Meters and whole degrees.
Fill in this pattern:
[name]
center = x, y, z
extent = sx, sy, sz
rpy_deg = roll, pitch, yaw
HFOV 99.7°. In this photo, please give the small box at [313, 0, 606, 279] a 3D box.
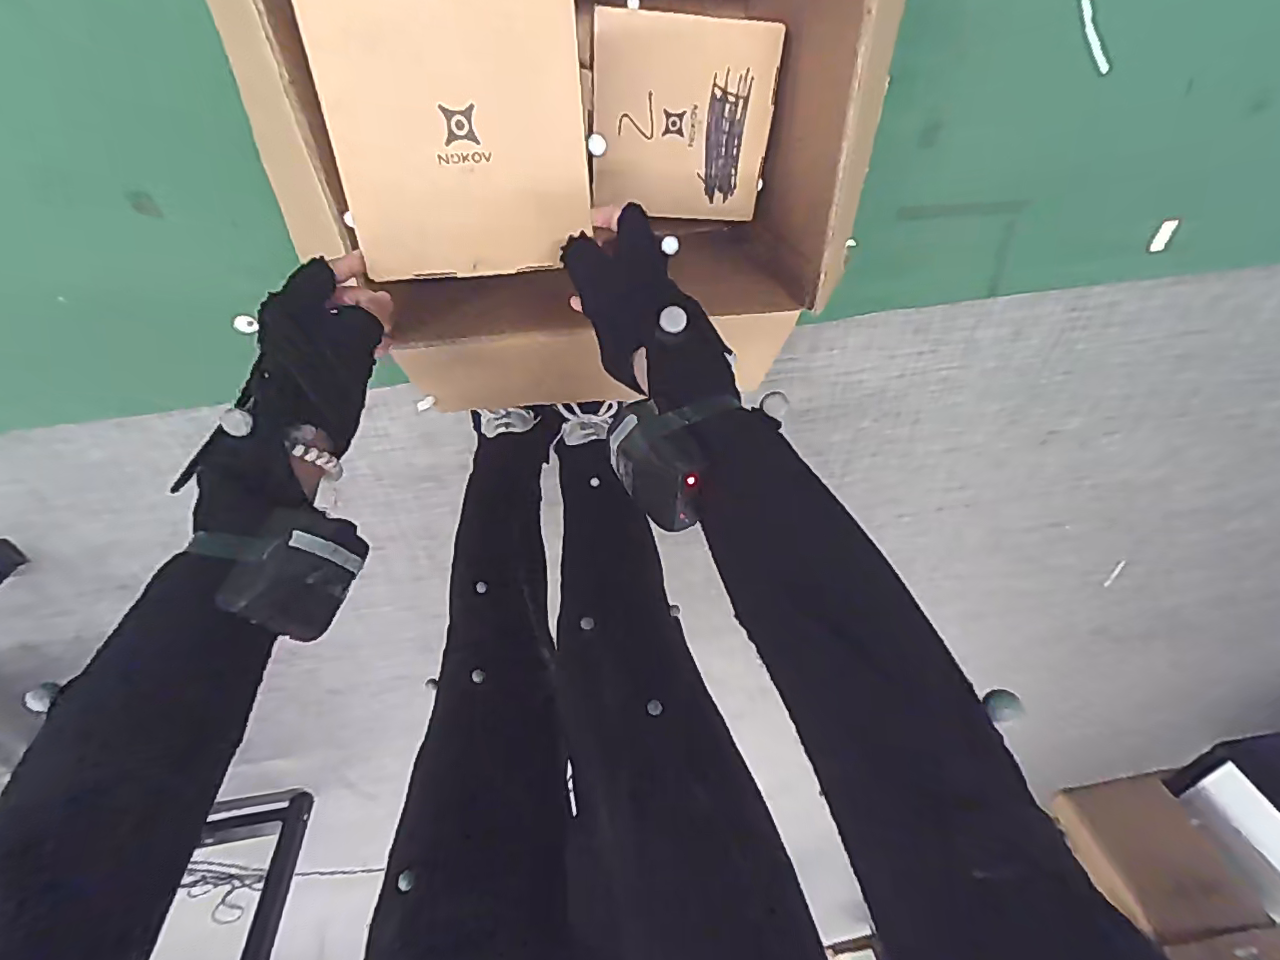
[small box]
center = -0.122, -0.265, 0.425
extent = 0.168, 0.176, 0.179
rpy_deg = -7, 120, -7
